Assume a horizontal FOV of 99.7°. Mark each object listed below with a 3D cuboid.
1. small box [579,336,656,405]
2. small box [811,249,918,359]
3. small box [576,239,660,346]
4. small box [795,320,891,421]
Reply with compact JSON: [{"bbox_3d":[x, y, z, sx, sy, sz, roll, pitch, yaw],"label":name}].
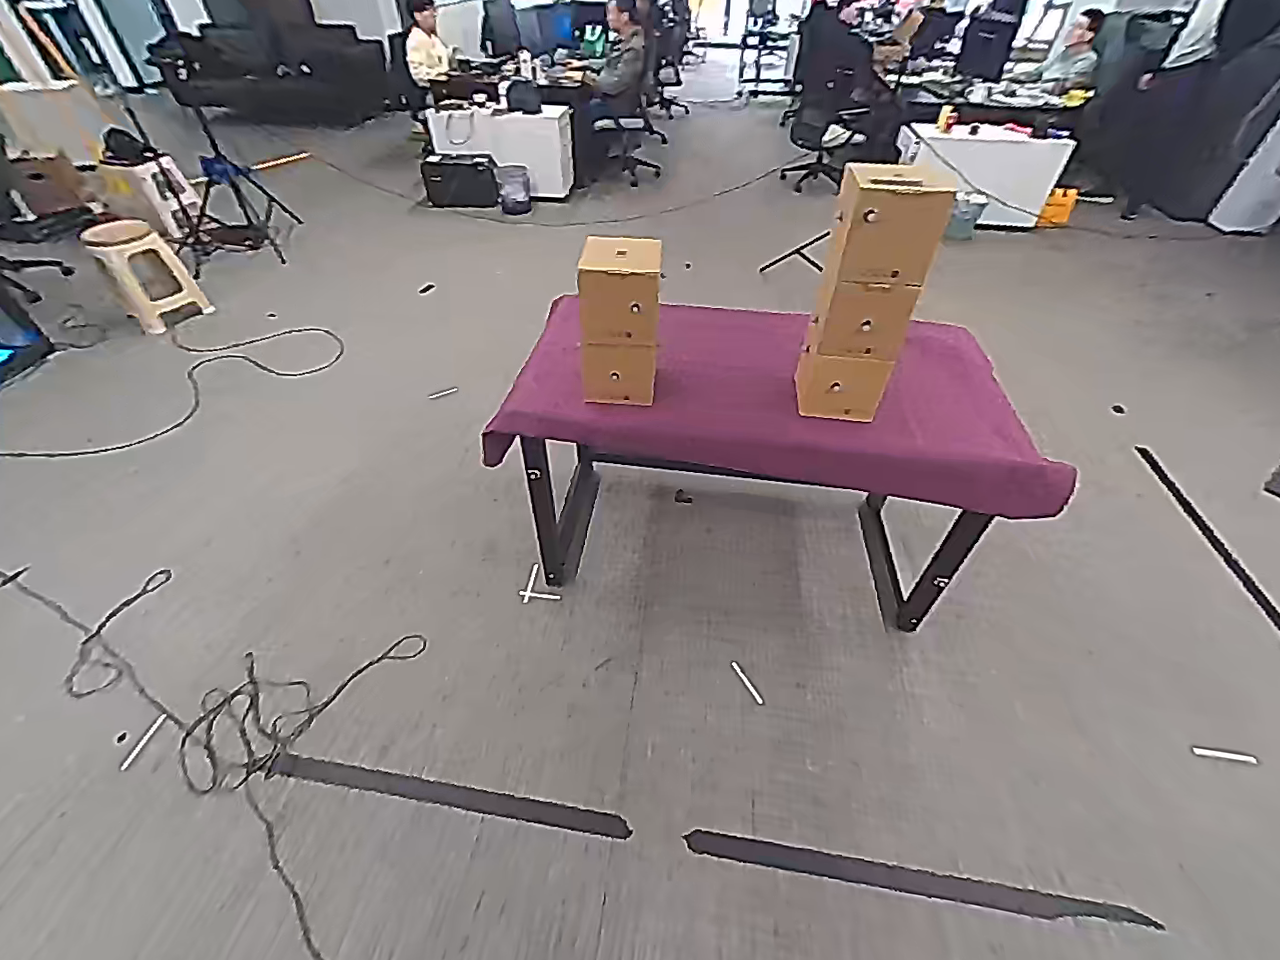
[{"bbox_3d":[-0.048,-0.297,1.302,0.168,0.176,0.179,4,44,2],"label":"small box"},{"bbox_3d":[0.473,-0.379,1.167,0.168,0.176,0.179,7,45,6],"label":"small box"},{"bbox_3d":[-0.043,-0.408,1.183,0.168,0.176,0.179,3,43,0],"label":"small box"},{"bbox_3d":[0.470,-0.258,1.278,0.168,0.176,0.179,6,44,5],"label":"small box"}]
